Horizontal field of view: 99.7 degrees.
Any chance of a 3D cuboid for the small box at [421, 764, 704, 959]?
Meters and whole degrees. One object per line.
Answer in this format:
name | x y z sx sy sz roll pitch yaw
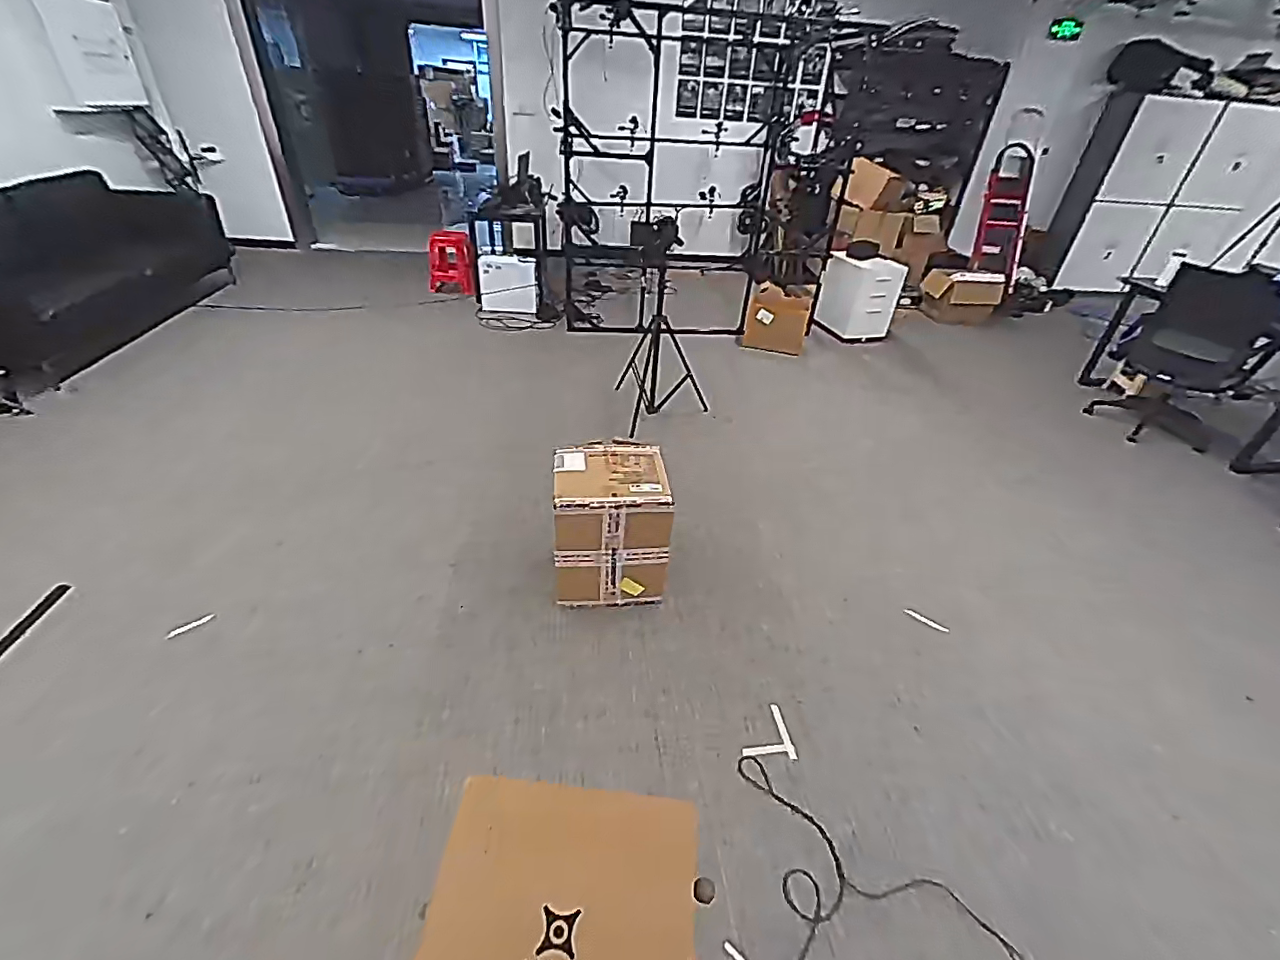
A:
small box | -0.048 0.329 0.384 0.168 0.176 0.179 5 47 3
